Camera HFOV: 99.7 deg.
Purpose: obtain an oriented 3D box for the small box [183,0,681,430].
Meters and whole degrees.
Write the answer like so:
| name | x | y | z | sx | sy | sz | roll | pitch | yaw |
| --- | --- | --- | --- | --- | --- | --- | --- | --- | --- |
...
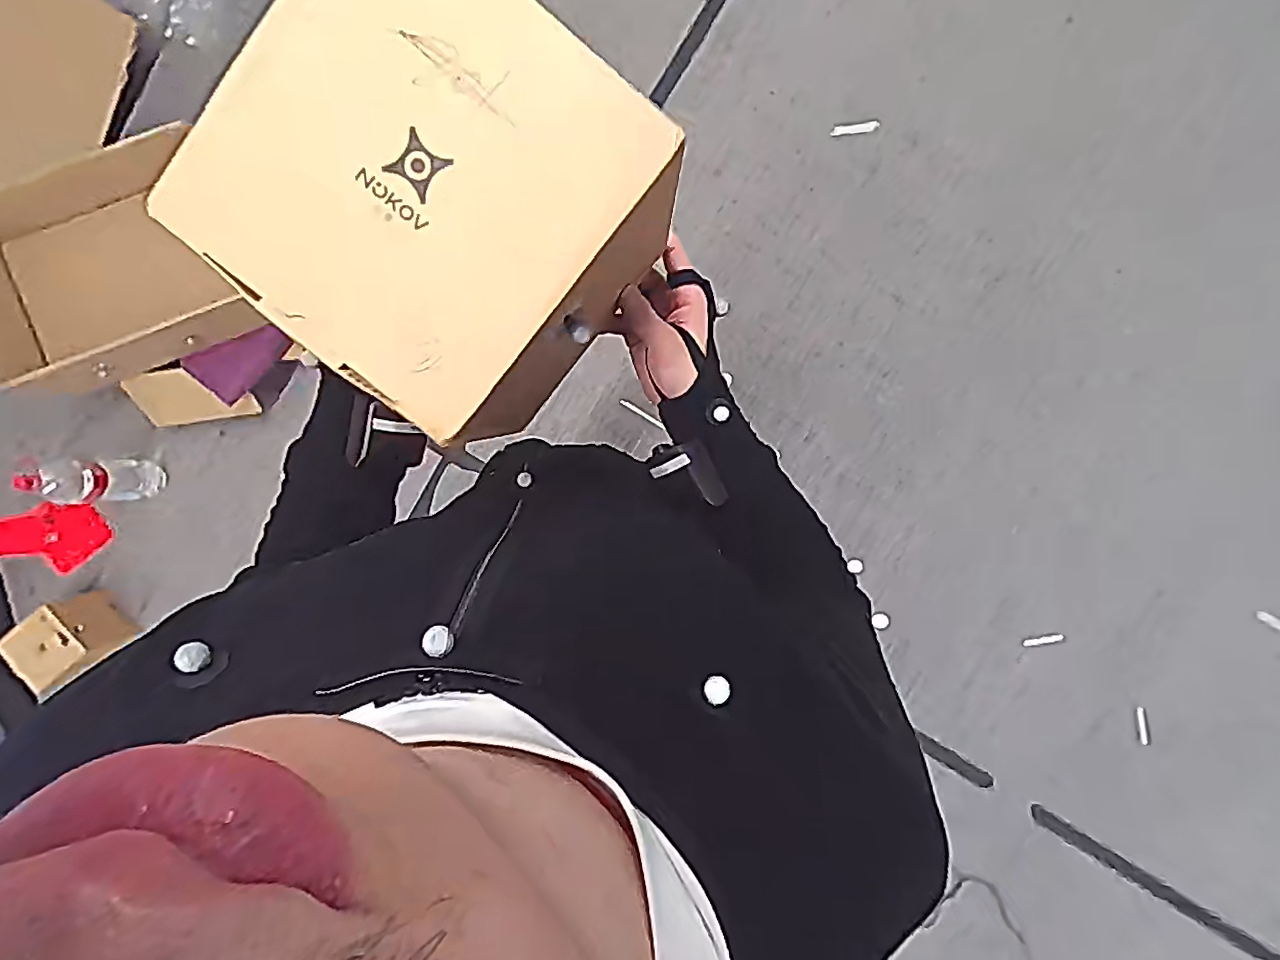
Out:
| name | x | y | z | sx | sy | sz | roll | pitch | yaw |
| --- | --- | --- | --- | --- | --- | --- | --- | --- | --- |
| small box | -0.094 | -0.147 | 0.324 | 0.168 | 0.176 | 0.179 | 38 | 95 | -5 |
